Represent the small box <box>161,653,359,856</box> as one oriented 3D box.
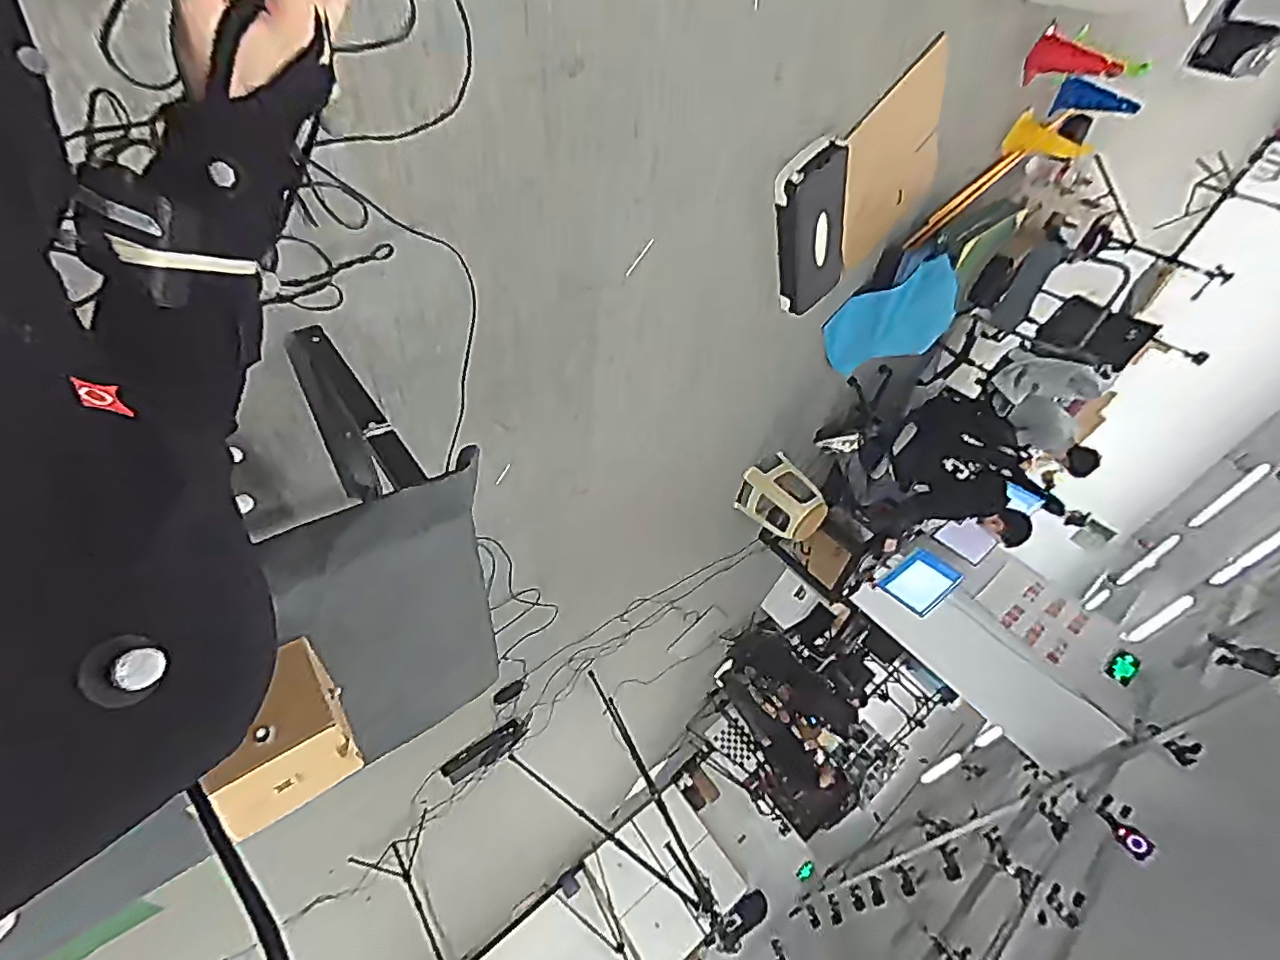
[{"bbox_3d":[-0.542,0.386,0.781,0.179,0.176,0.168,-25,142,-31],"label":"small box"}]
